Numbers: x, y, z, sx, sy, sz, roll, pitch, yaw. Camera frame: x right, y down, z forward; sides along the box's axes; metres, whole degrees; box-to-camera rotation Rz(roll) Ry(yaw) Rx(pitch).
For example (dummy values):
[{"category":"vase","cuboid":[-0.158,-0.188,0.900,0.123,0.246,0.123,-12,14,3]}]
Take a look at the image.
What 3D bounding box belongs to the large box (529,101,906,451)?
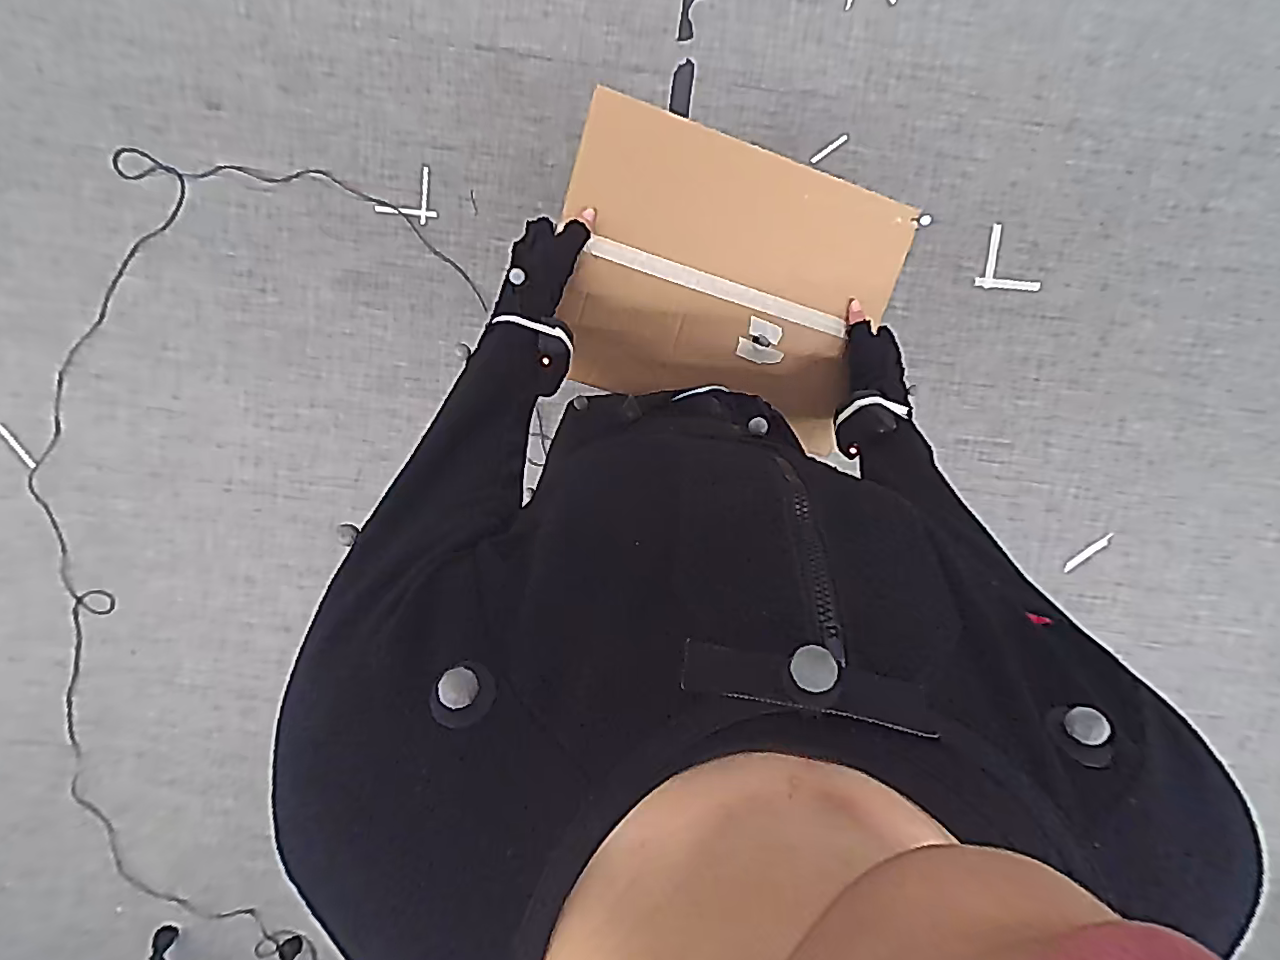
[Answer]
[{"category":"large box","cuboid":[0.079,-0.264,0.800,0.408,0.320,0.320,16,103,-9]}]
